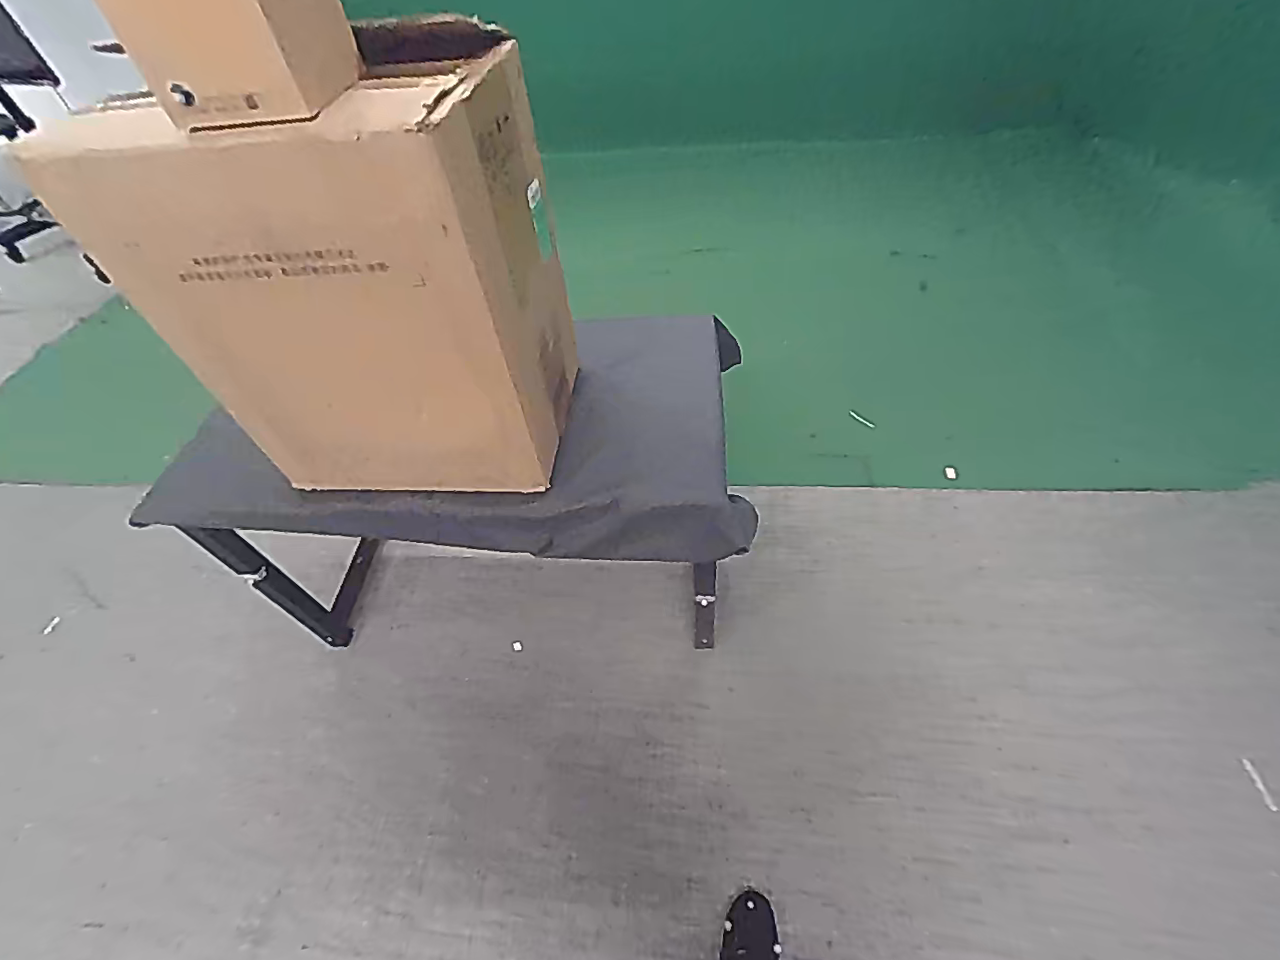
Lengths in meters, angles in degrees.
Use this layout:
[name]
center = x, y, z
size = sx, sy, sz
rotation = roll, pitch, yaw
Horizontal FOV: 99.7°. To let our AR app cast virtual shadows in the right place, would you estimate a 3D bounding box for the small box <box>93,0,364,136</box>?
[small box]
center = -0.446, -0.505, 0.607
size = 0.168, 0.176, 0.179
rotation = -2, 49, 5
